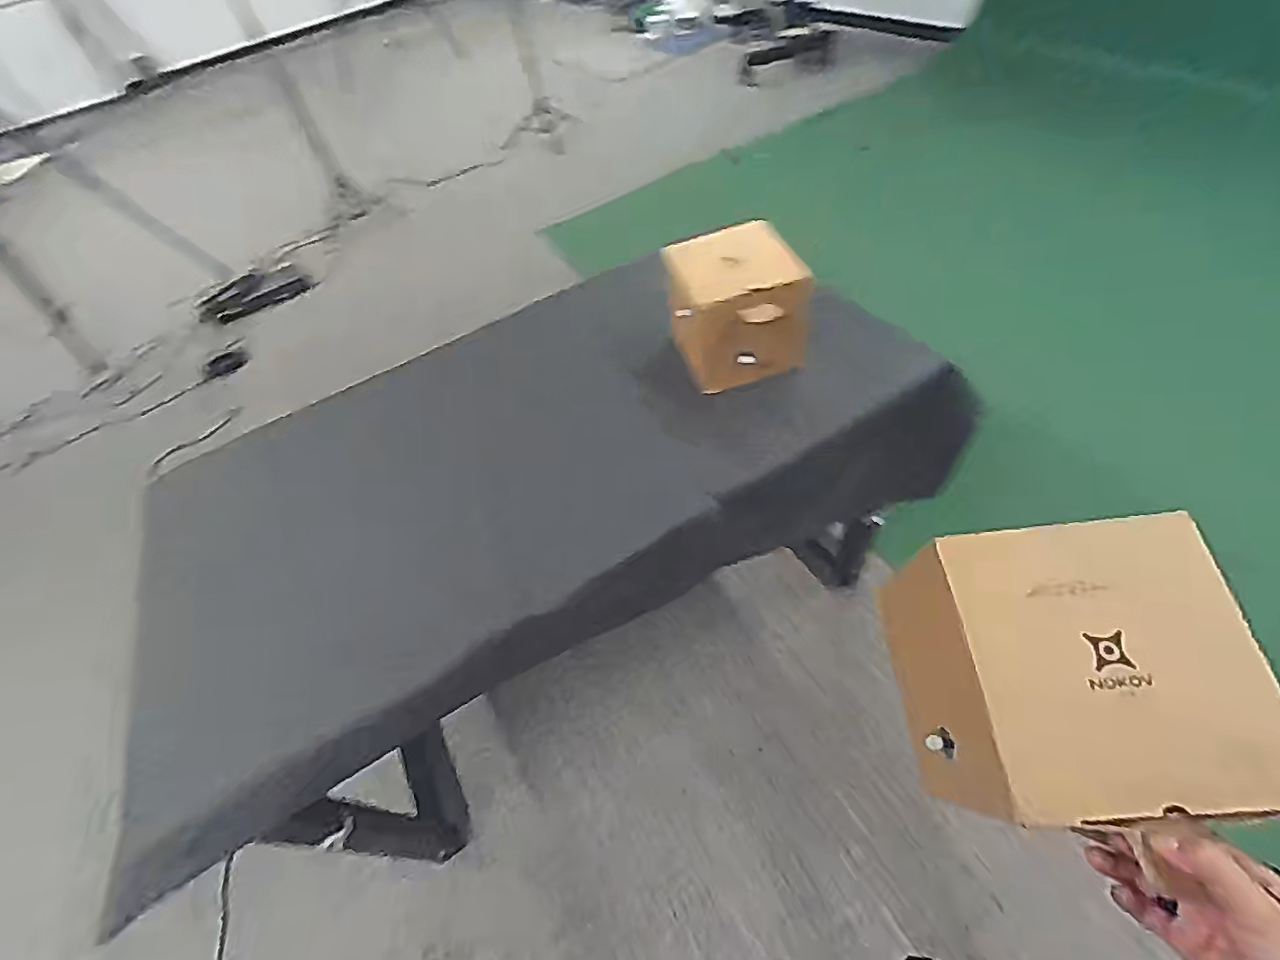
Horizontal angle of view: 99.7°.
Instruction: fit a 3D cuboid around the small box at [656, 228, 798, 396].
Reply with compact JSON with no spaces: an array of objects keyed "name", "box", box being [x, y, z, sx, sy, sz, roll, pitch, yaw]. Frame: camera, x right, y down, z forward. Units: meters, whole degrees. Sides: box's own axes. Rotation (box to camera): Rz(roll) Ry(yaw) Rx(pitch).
[{"name":"small box","box":[0.133,-0.265,0.862,0.168,0.176,0.179,-18,51,-3]}]
